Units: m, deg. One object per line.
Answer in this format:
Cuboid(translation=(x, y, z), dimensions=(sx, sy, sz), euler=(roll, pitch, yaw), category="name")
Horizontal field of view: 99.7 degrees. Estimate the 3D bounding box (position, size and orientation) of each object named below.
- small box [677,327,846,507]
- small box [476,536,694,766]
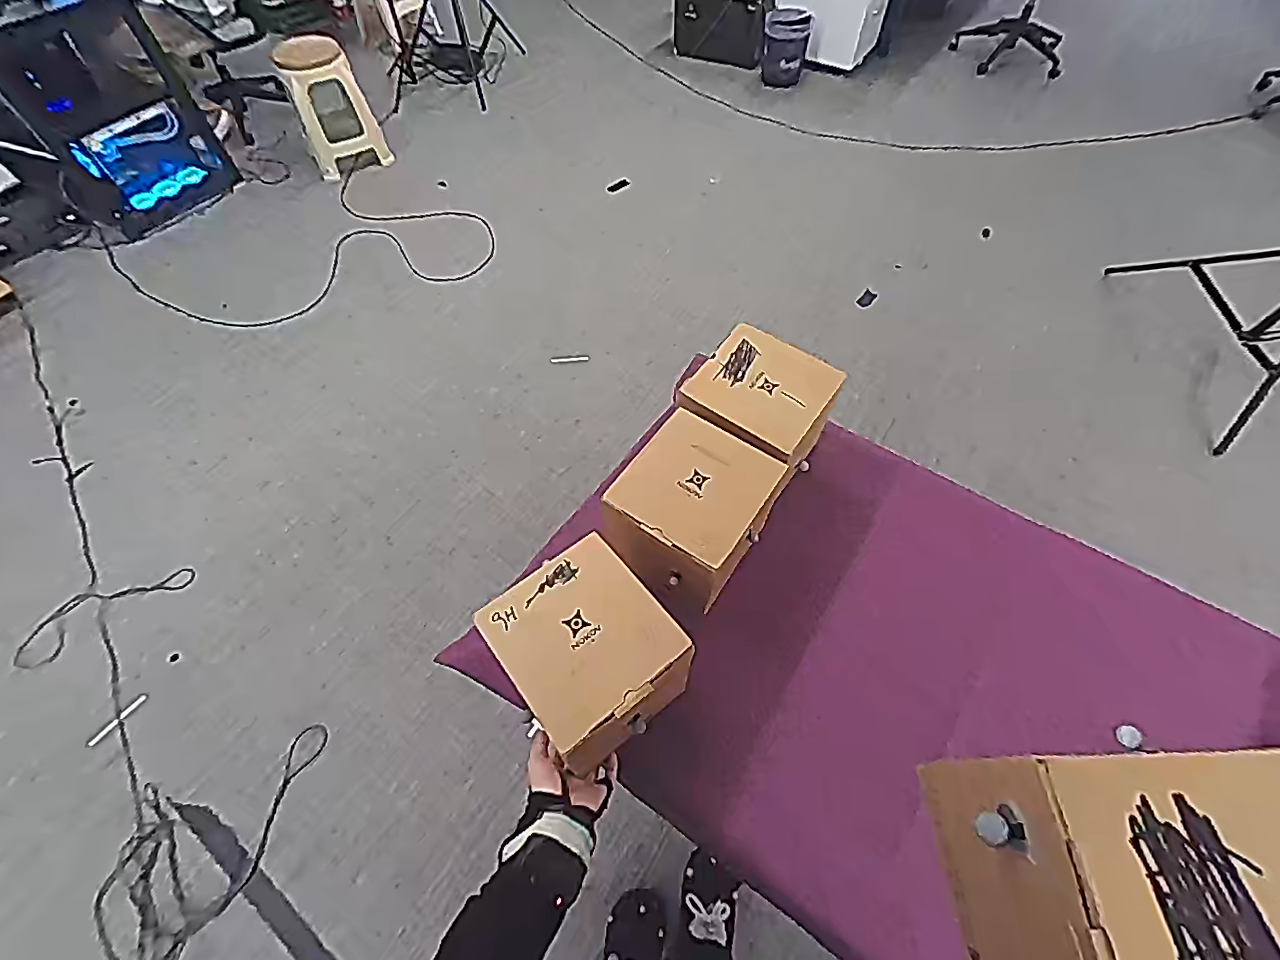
Cuboid(translation=(0.169, -0.088, 0.811), dimensions=(0.179, 0.176, 0.168), euler=(33, 66, 18), category="small box")
Cuboid(translation=(-0.058, 0.204, 0.627), dimensions=(0.168, 0.176, 0.179), euler=(-34, 62, -21), category="small box")
